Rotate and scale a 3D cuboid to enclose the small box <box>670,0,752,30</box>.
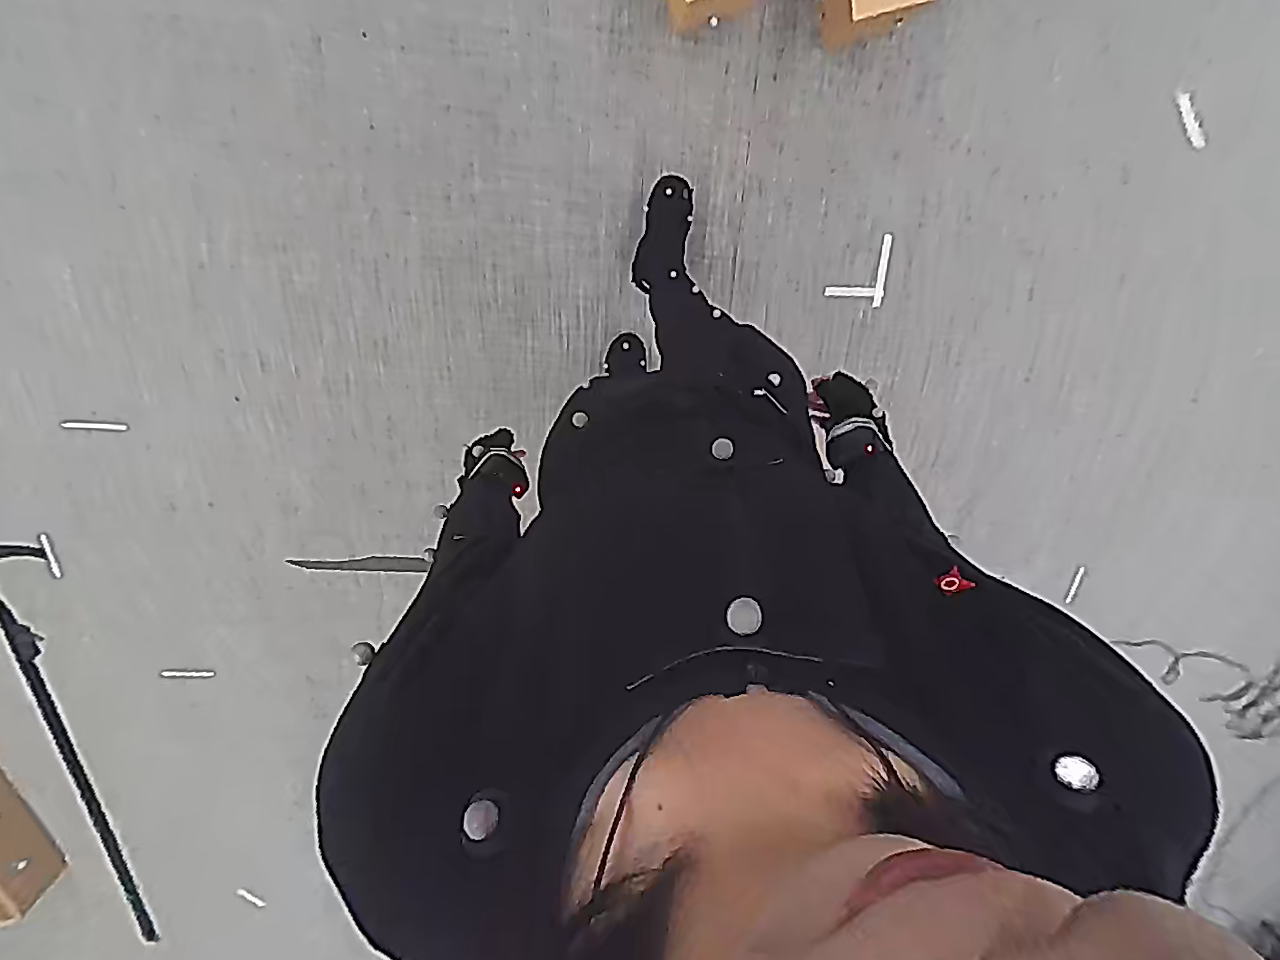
[{"bbox_3d":[0.139,-1.042,1.064,0.168,0.176,0.179,-16,113,3],"label":"small box"}]

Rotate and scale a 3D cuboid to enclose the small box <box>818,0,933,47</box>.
[{"bbox_3d":[0.478,-1.025,1.097,0.179,0.176,0.168,-15,111,3],"label":"small box"}]
